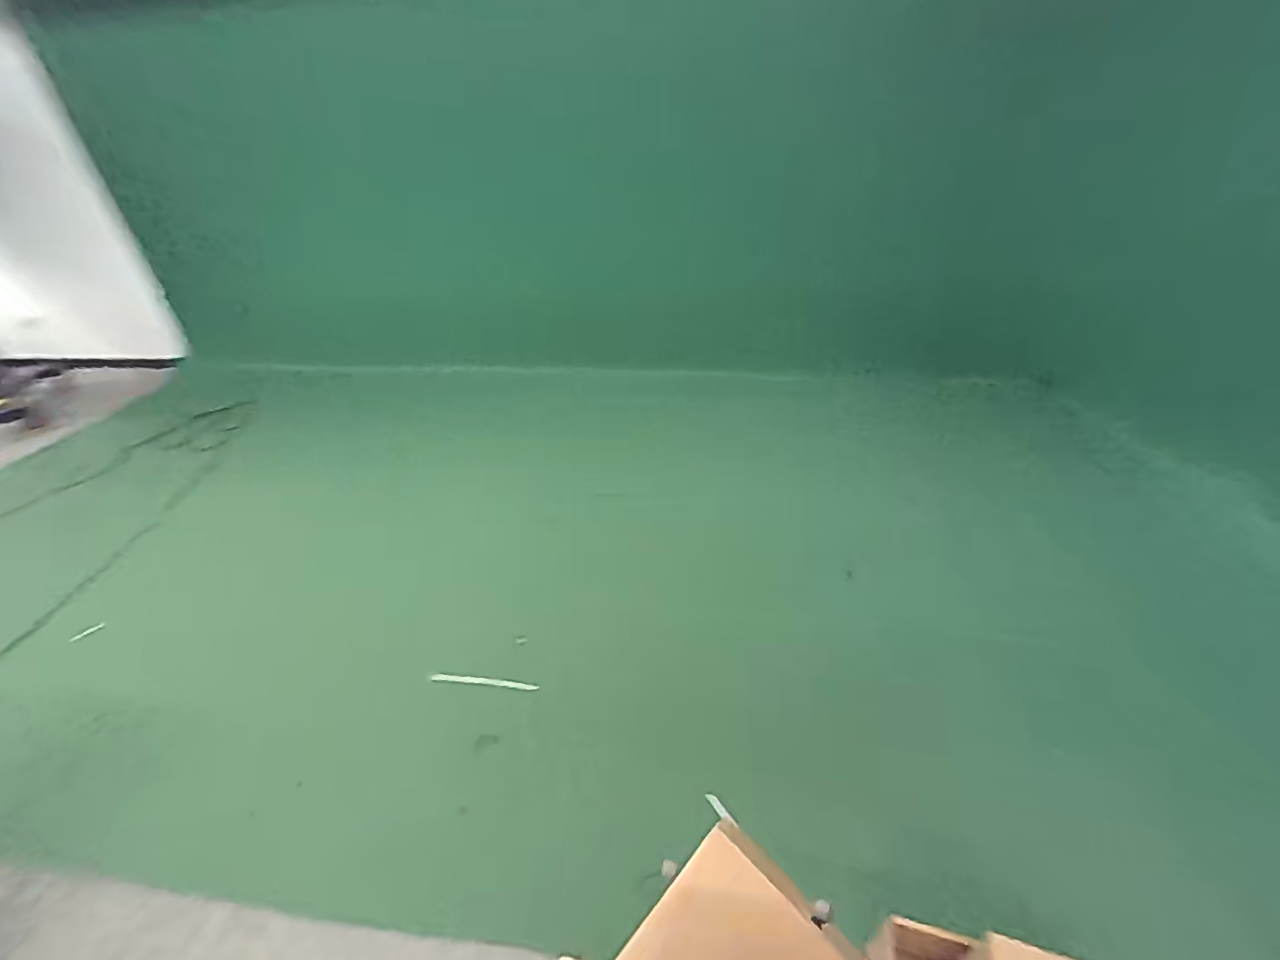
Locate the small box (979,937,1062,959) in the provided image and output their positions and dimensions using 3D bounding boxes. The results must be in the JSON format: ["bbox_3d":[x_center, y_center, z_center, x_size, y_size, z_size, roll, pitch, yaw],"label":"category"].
[{"bbox_3d":[0.644,0.876,0.851,0.179,0.176,0.168,8,38,19],"label":"small box"}]
